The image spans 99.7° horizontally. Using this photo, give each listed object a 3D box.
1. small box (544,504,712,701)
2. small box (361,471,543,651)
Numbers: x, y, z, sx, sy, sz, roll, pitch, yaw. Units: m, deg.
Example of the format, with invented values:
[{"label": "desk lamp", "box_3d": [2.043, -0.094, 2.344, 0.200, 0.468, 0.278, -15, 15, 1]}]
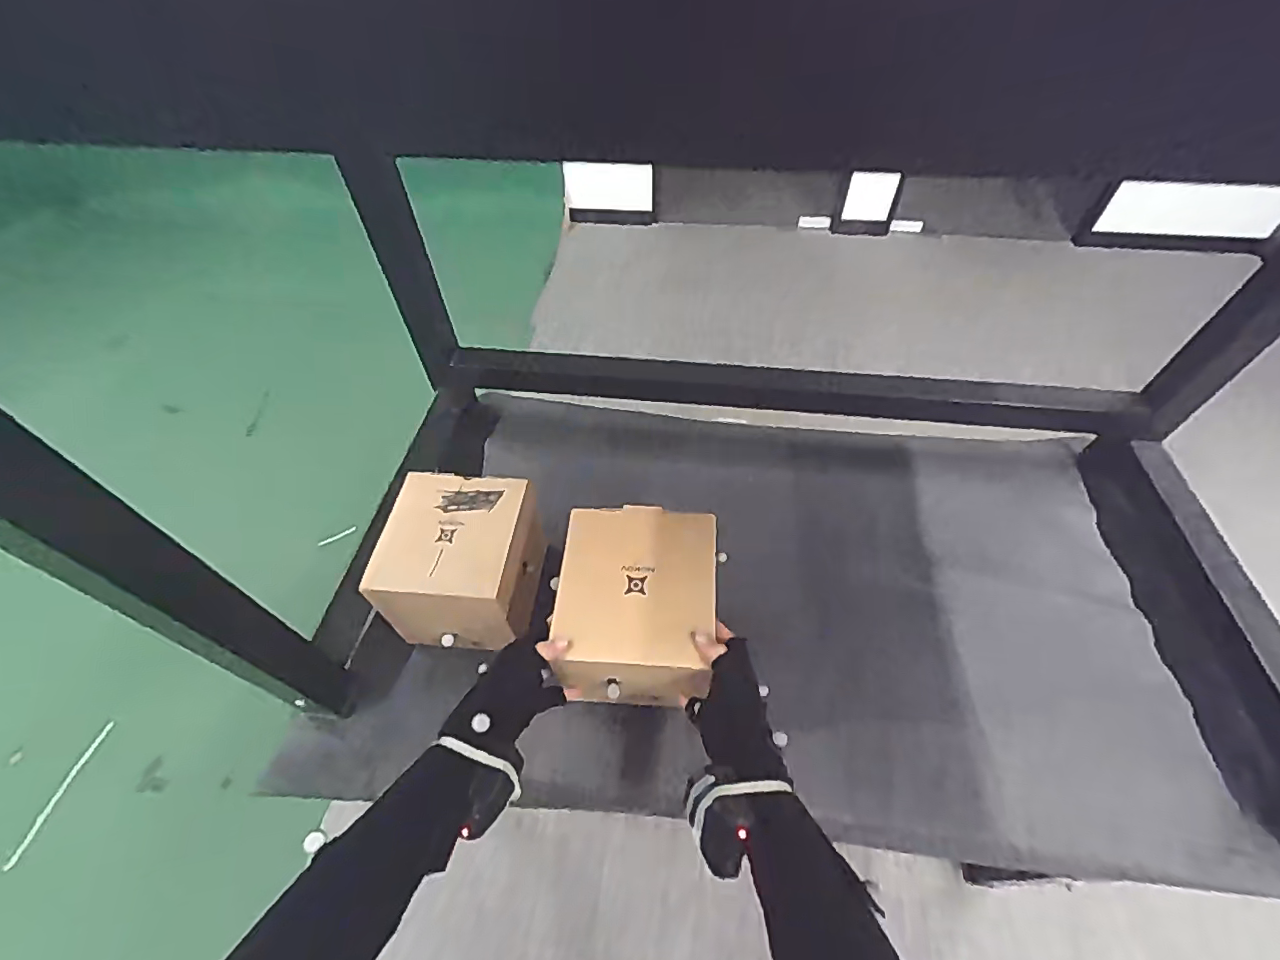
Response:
[{"label": "small box", "box_3d": [-0.002, 0.147, 0.631, 0.168, 0.176, 0.179, 2, 54, 5]}, {"label": "small box", "box_3d": [-0.234, 0.110, 0.731, 0.168, 0.176, 0.179, 3, 52, 4]}]
